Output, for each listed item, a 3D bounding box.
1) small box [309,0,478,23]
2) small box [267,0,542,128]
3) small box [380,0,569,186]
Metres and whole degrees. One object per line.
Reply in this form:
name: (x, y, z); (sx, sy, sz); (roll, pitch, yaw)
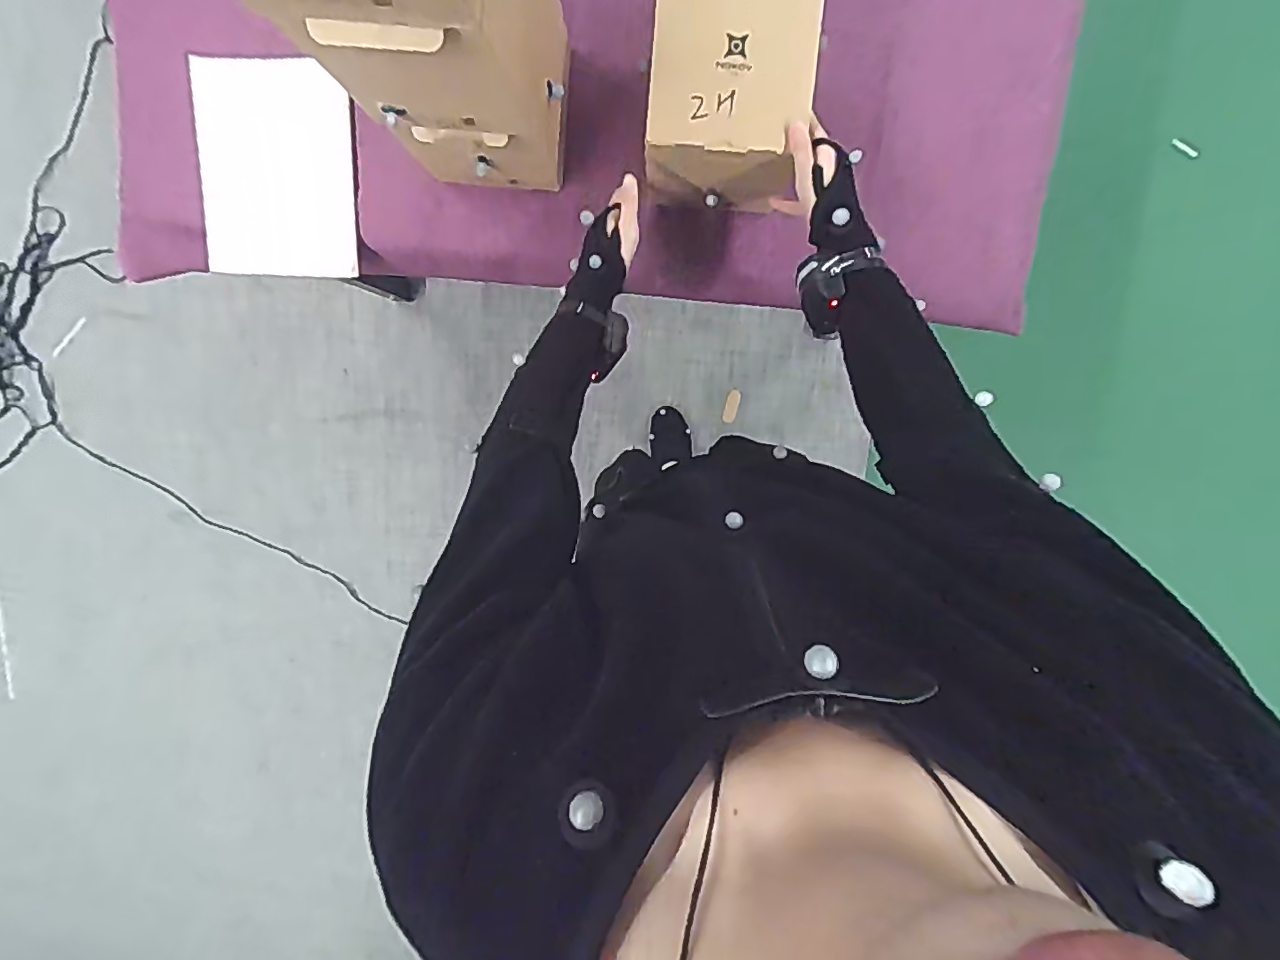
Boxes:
small box: (-0.188, -0.407, 0.301); (0.168, 0.176, 0.179); (6, 98, 0)
small box: (-0.183, -0.435, 0.462); (0.168, 0.176, 0.179); (5, 97, 1)
small box: (-0.179, -0.464, 0.624); (0.168, 0.176, 0.179); (5, 99, 0)
